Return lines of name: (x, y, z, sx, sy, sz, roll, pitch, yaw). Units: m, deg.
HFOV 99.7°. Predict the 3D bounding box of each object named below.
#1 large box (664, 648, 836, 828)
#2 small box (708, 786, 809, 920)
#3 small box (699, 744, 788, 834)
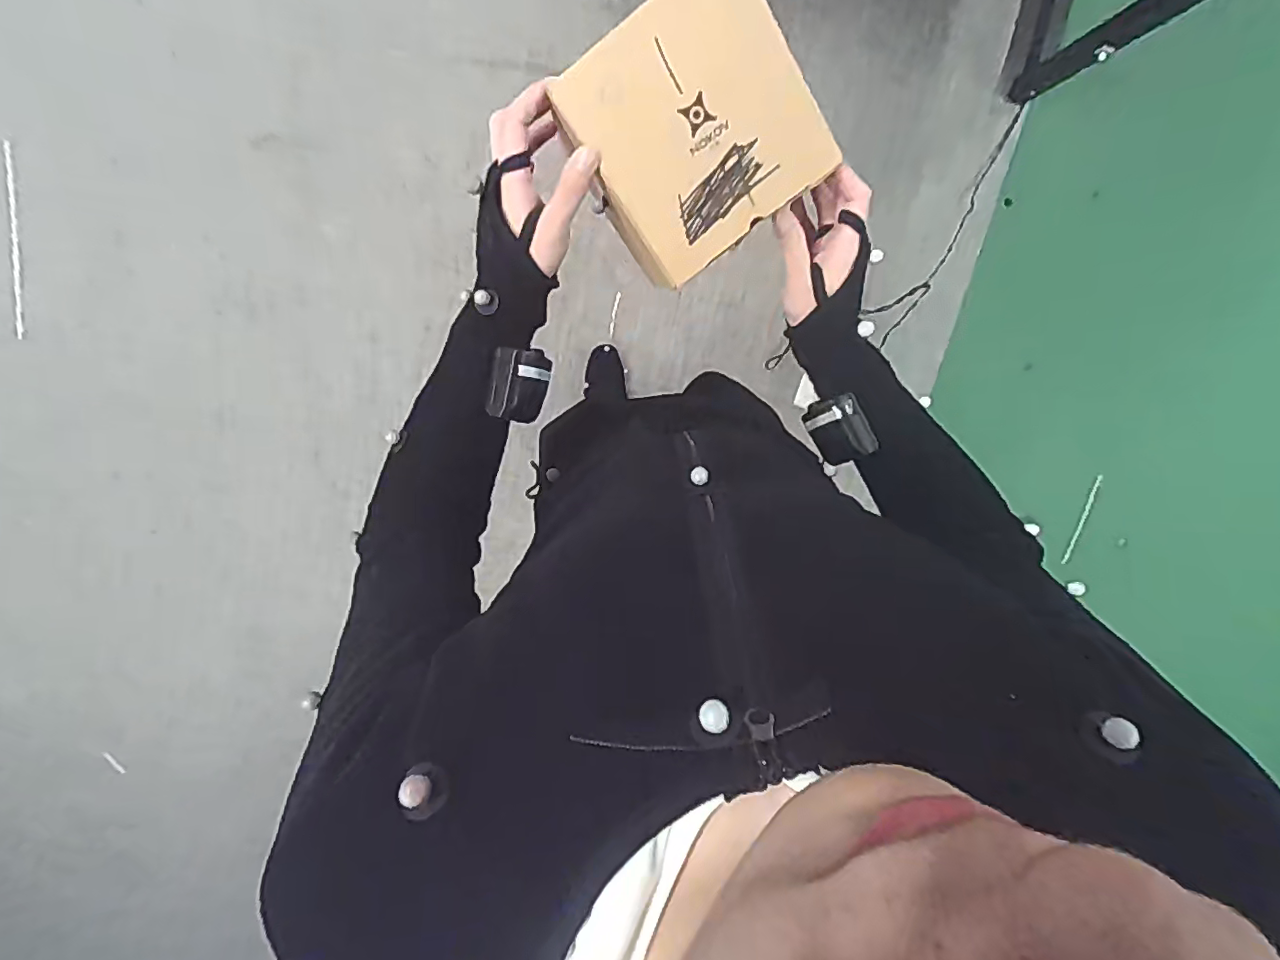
large box: (0.328, 0.799, 1.700, 0.408, 0.320, 0.320, -22, 105, 0)
small box: (0.277, 0.884, 1.294, 0.168, 0.176, 0.179, -21, 103, 0)
small box: (0.269, 0.854, 1.453, 0.179, 0.176, 0.168, -22, 104, 0)
